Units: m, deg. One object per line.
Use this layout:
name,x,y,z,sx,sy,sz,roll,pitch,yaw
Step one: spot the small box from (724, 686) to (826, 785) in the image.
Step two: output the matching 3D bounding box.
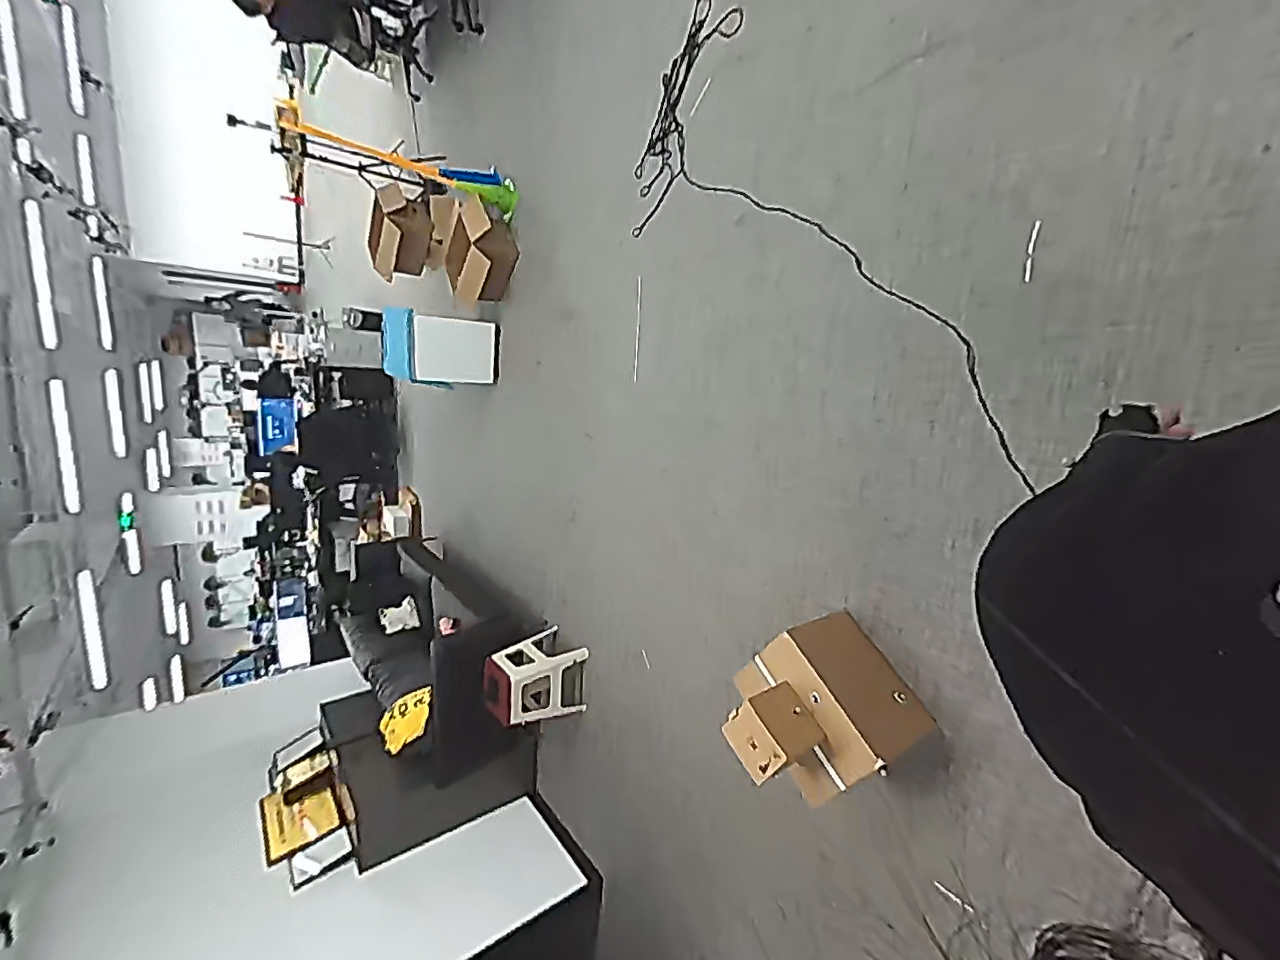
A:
small box,0.373,0.694,1.495,0.179,0.176,0.168,53,134,35
